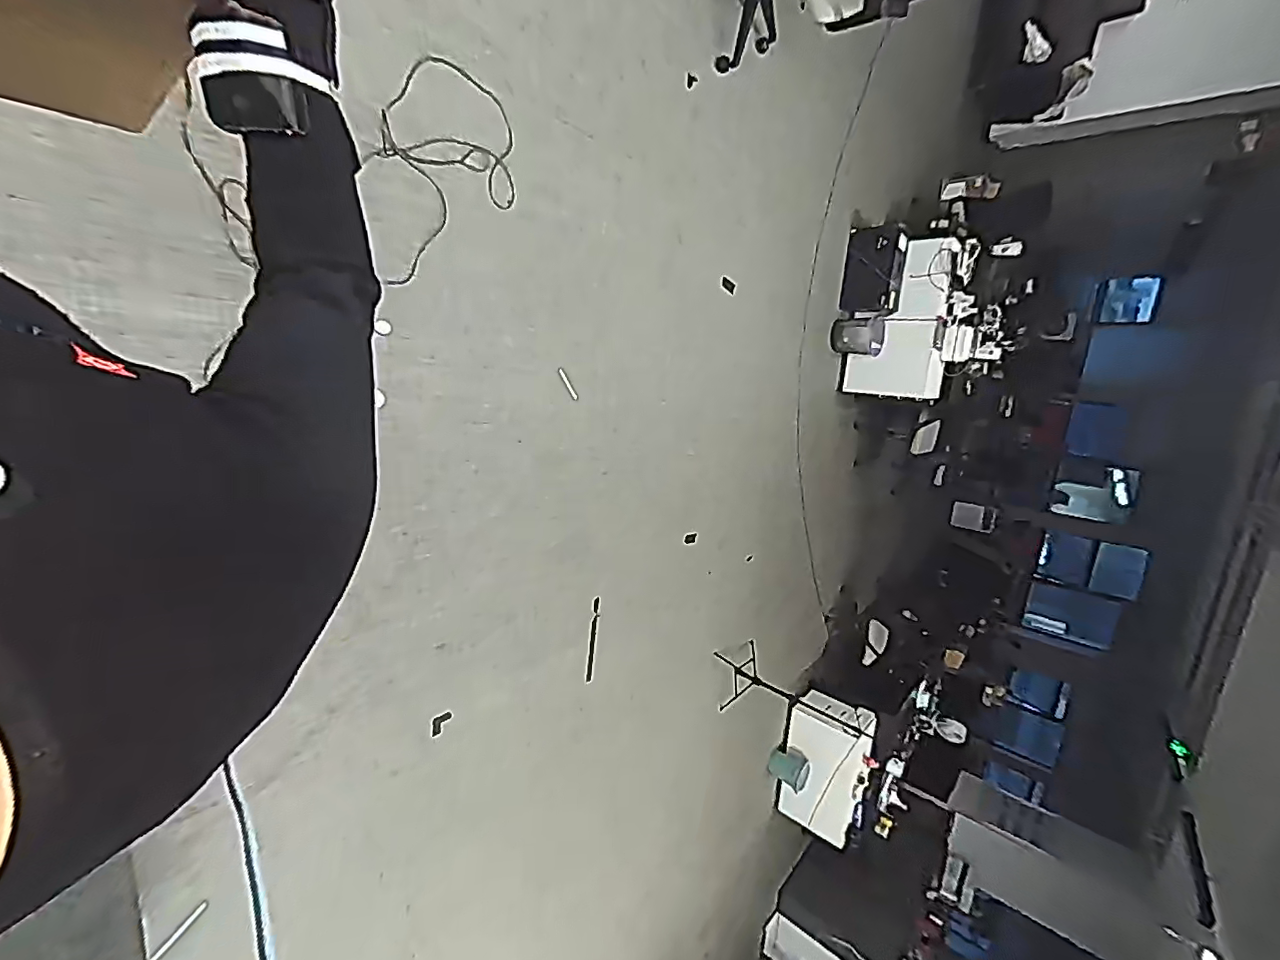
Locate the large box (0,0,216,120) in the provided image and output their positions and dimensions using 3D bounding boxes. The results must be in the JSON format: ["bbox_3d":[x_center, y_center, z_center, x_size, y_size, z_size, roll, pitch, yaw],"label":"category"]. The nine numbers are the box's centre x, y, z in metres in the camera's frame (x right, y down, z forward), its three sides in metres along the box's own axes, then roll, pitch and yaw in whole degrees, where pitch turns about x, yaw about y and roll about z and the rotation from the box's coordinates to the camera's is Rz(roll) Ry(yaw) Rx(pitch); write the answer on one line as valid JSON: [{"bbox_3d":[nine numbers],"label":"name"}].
[{"bbox_3d":[-0.497,-0.448,0.255,0.408,0.320,0.320,-13,107,-50],"label":"large box"}]
